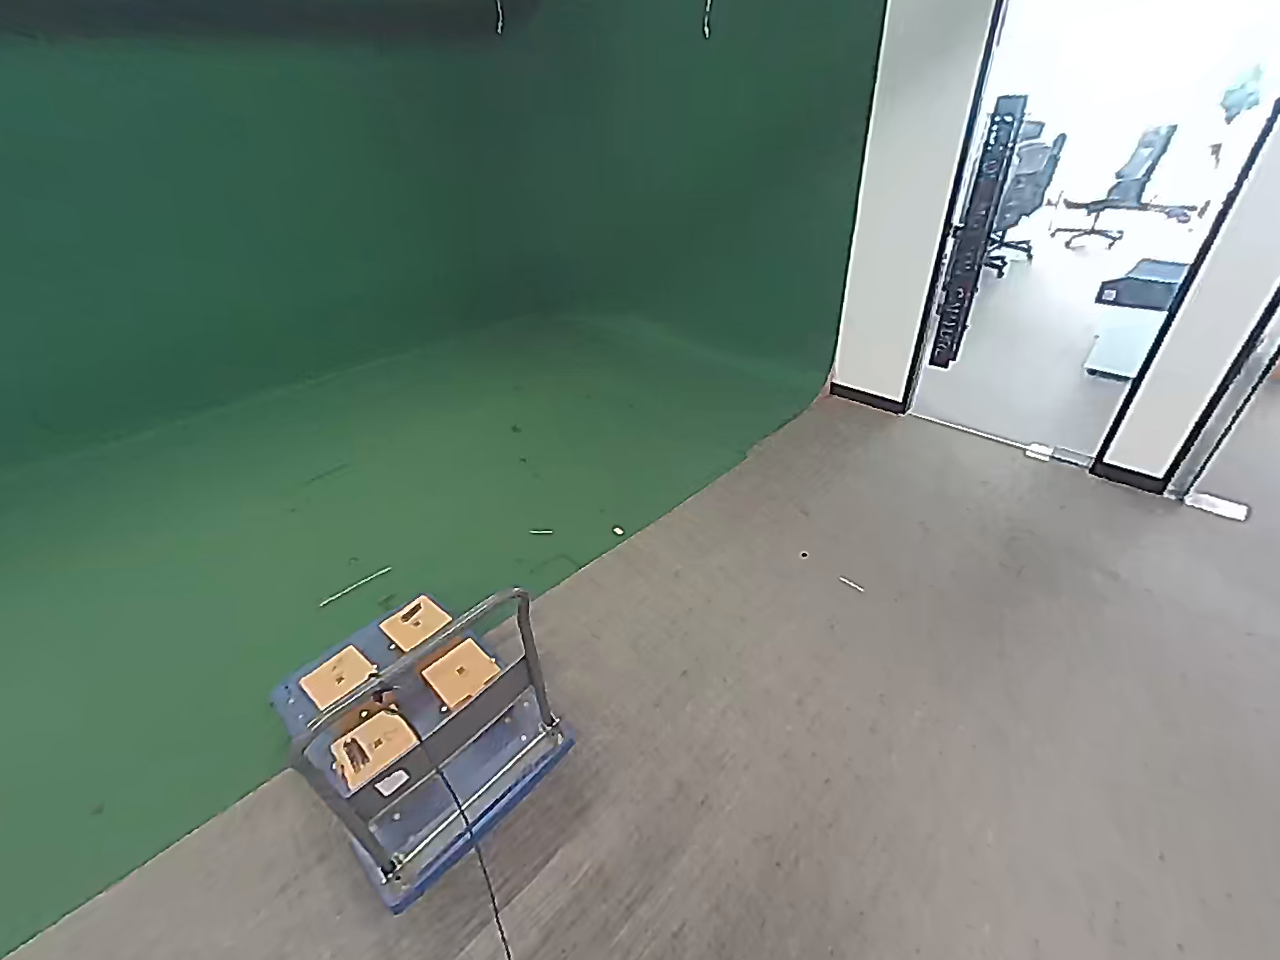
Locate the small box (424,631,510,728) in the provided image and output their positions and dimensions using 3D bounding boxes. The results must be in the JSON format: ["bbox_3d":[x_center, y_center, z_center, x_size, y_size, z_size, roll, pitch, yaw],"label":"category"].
[{"bbox_3d":[-0.515,0.598,1.619,0.179,0.176,0.168,30,48,36],"label":"small box"}]

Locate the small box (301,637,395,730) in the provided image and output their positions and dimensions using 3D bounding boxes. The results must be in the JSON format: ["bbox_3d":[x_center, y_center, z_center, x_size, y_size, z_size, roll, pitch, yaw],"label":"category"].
[{"bbox_3d":[-0.870,0.618,1.625,0.179,0.176,0.168,25,44,33],"label":"small box"}]

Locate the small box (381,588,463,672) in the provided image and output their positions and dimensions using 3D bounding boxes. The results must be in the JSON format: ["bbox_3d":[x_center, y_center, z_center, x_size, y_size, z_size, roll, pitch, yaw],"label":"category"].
[{"bbox_3d":[-0.709,0.495,1.775,0.179,0.176,0.168,25,46,32],"label":"small box"}]
